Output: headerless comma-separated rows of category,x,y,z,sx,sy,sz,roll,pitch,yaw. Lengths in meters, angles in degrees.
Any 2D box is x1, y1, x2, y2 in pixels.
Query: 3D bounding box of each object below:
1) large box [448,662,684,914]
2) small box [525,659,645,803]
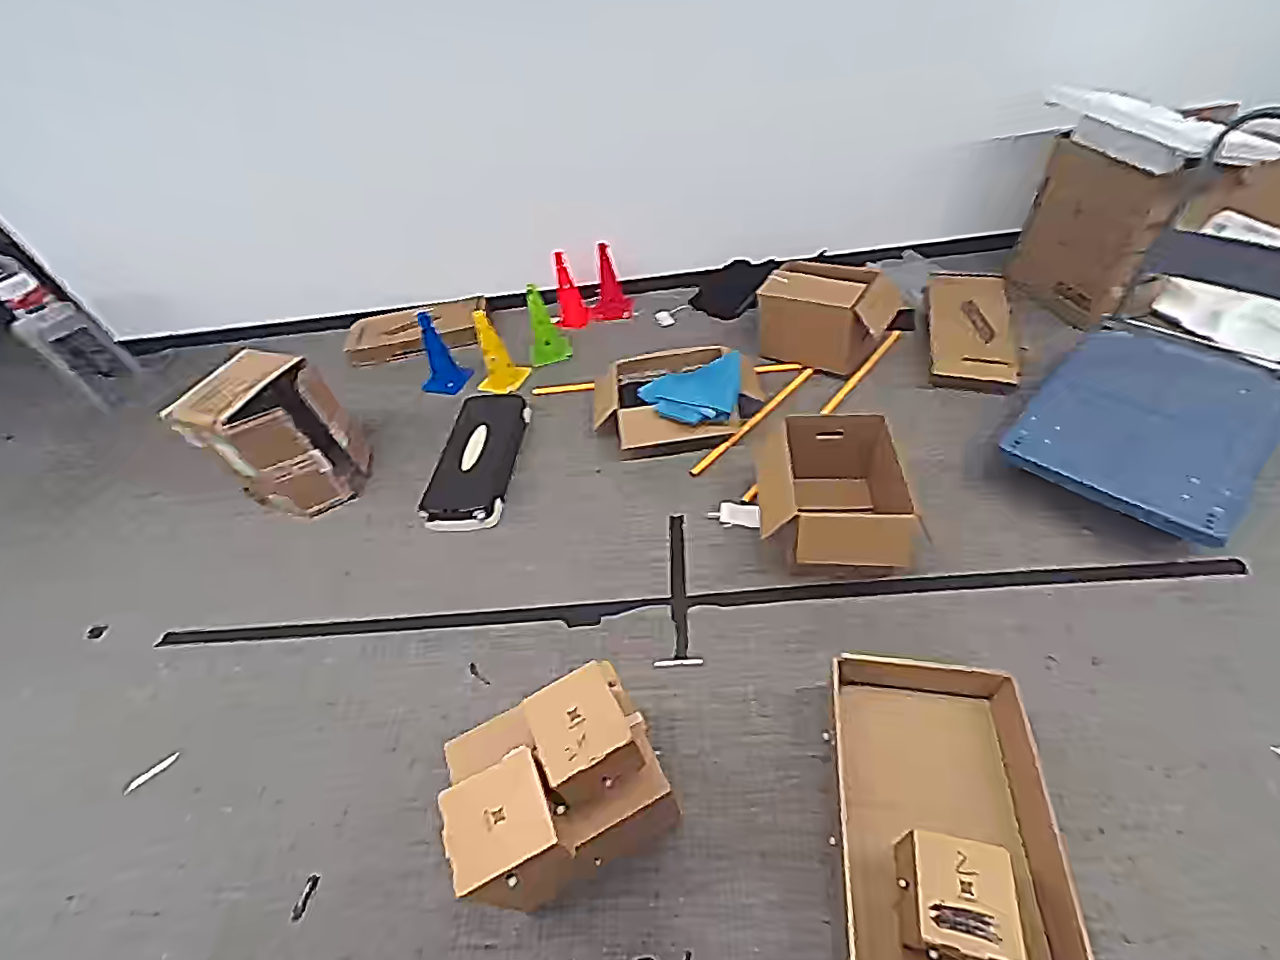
large box,-0.154,0.695,1.227,0.408,0.320,0.320,-25,48,-12
small box,-0.105,0.495,1.064,0.168,0.176,0.179,-26,49,-12
